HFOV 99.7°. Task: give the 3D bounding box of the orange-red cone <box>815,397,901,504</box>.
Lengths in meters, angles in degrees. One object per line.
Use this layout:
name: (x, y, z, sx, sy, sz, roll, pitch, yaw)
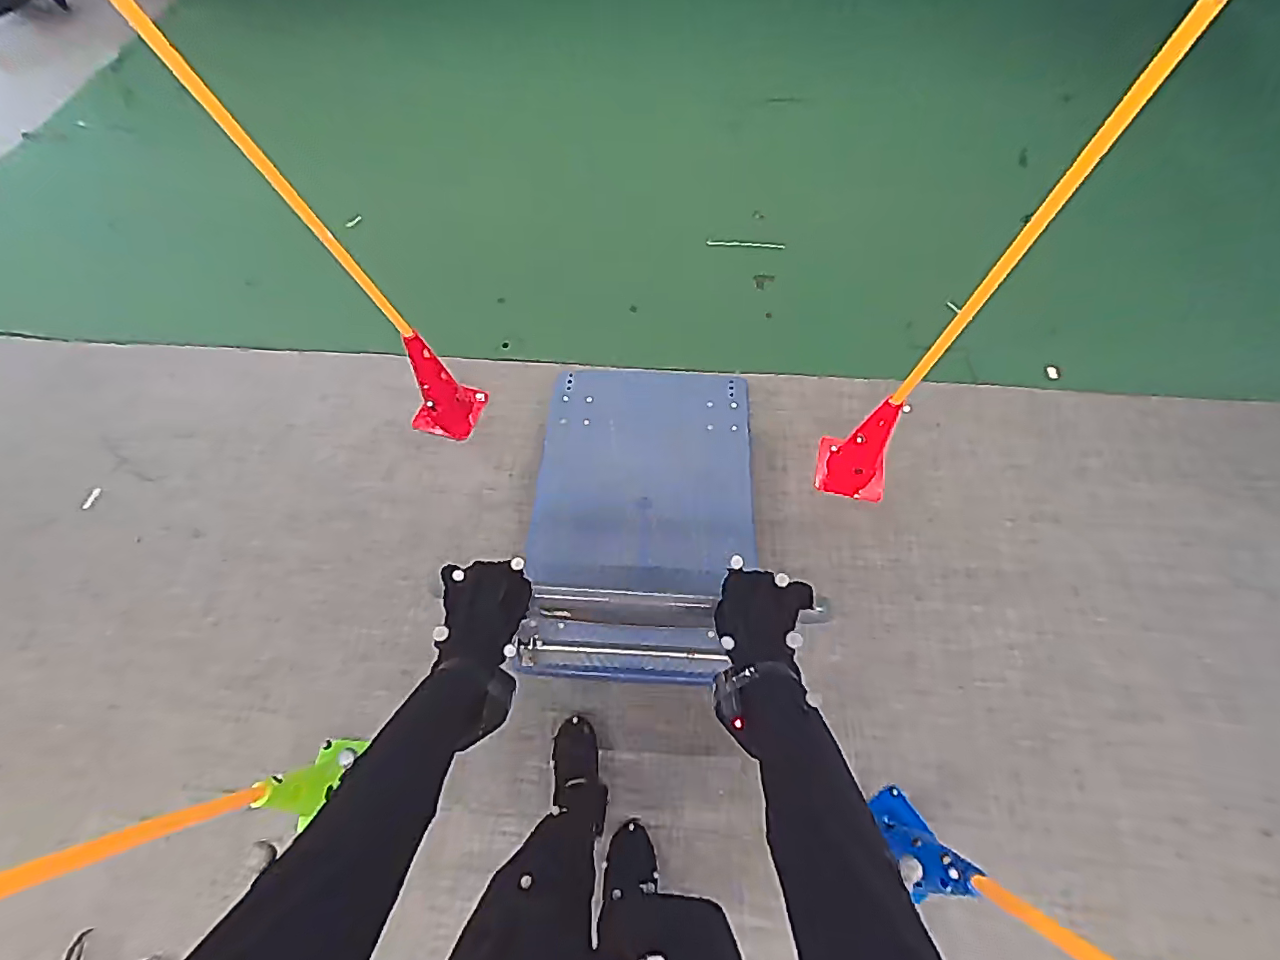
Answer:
orange-red cone: (0.640, -0.107, 1.504, 0.198, 0.360, 0.199, 13, 63, 9)
